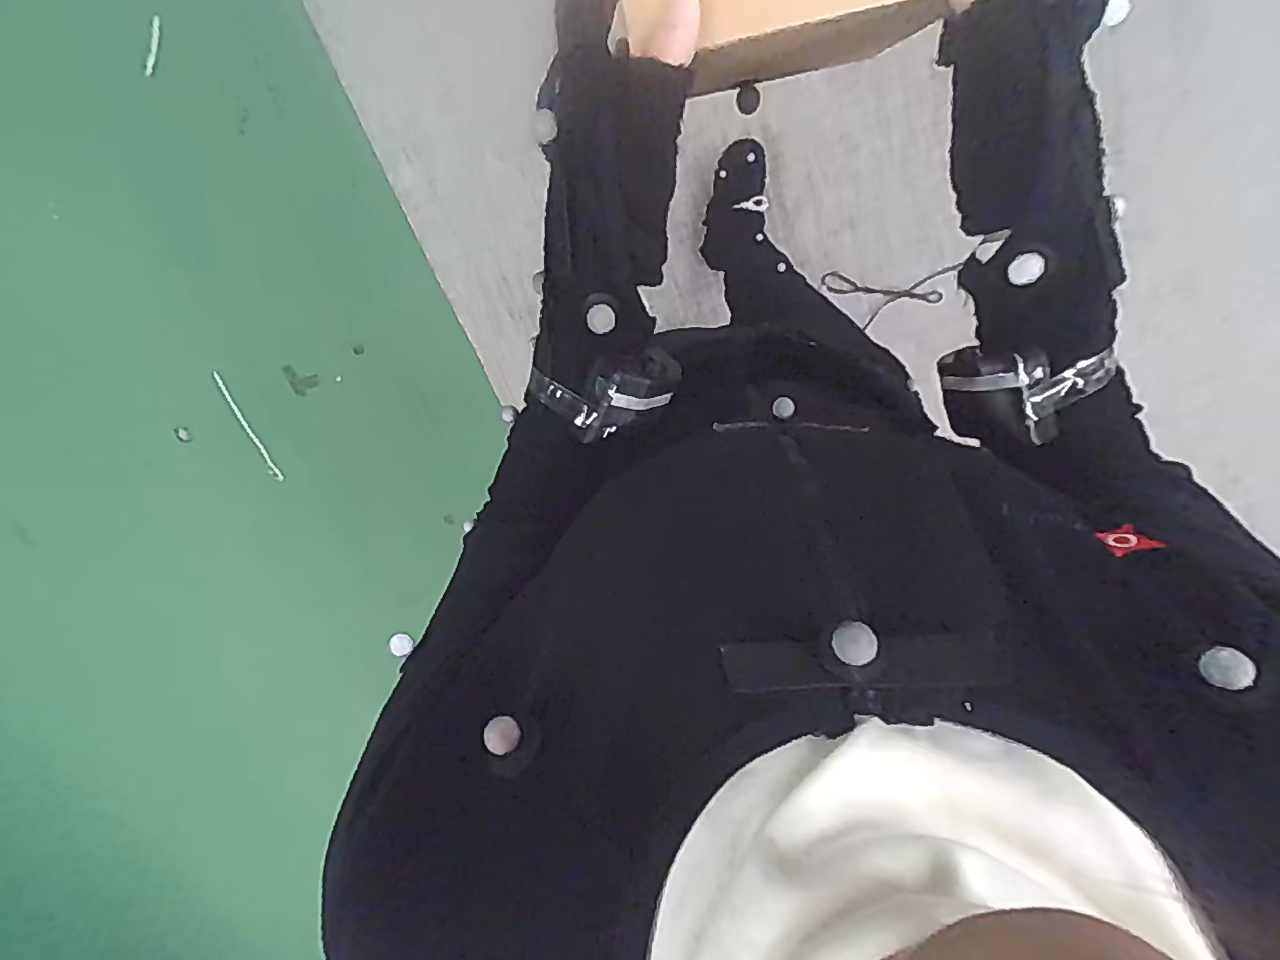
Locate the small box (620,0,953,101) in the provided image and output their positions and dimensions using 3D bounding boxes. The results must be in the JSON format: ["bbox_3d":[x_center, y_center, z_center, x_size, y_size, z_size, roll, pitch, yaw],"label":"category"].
[{"bbox_3d":[0.063,-0.320,0.271,0.168,0.176,0.179,-8,118,6],"label":"small box"}]

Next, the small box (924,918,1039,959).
[{"bbox_3d":[0.616,0.908,0.935,0.179,0.176,0.168,-17,110,9],"label":"small box"}]
